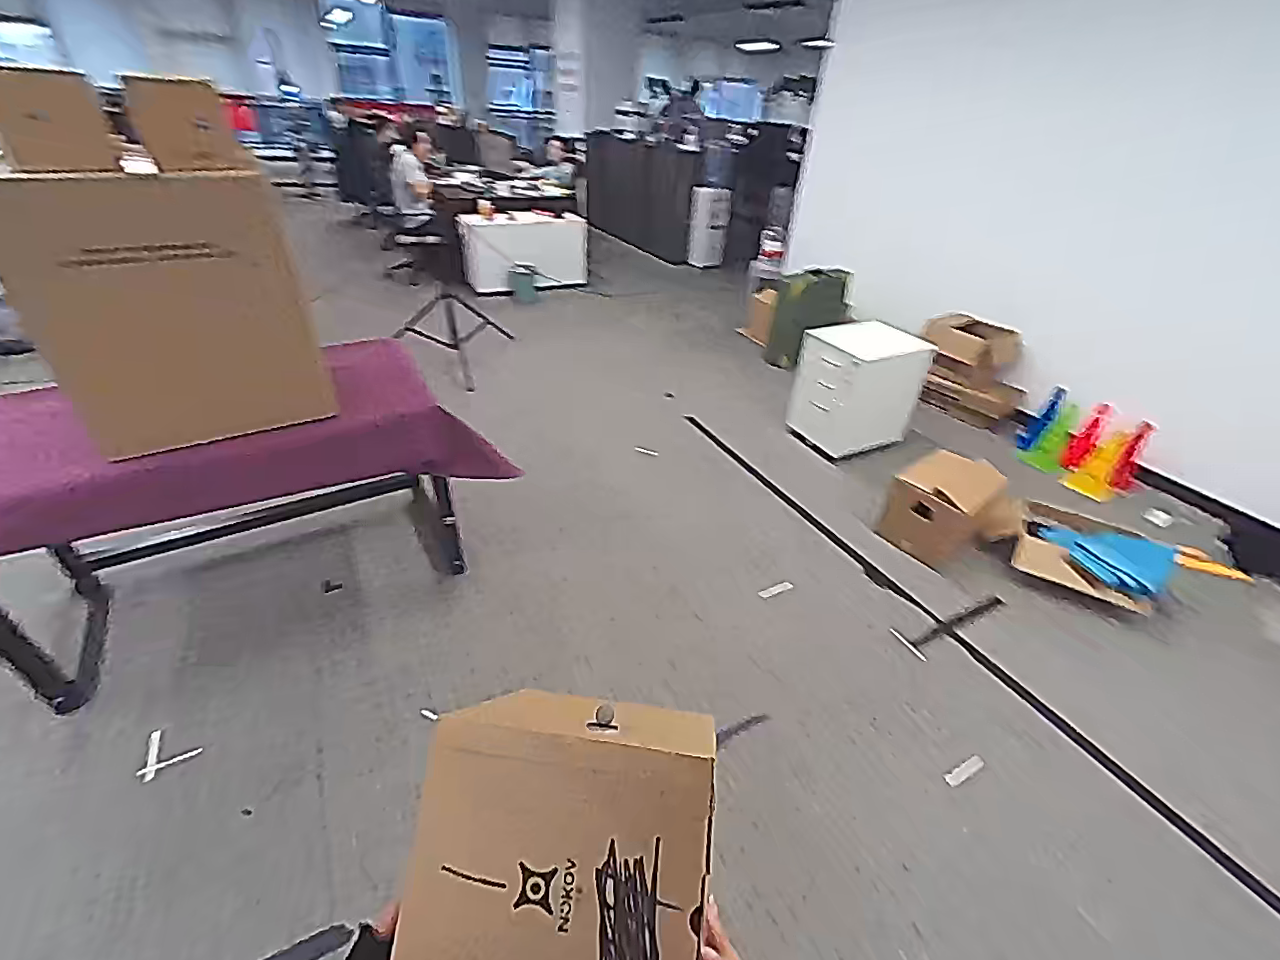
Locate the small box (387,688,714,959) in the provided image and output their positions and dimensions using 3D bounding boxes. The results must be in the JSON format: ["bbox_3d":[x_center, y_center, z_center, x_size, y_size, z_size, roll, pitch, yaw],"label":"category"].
[{"bbox_3d":[-0.042,0.247,0.381,0.179,0.176,0.168,4,74,8],"label":"small box"}]

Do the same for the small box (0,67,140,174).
[{"bbox_3d":[-1.181,-0.730,1.102,0.168,0.176,0.179,32,43,31],"label":"small box"}]

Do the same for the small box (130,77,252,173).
[{"bbox_3d":[-1.001,-0.797,1.218,0.168,0.176,0.179,-18,41,-29],"label":"small box"}]
